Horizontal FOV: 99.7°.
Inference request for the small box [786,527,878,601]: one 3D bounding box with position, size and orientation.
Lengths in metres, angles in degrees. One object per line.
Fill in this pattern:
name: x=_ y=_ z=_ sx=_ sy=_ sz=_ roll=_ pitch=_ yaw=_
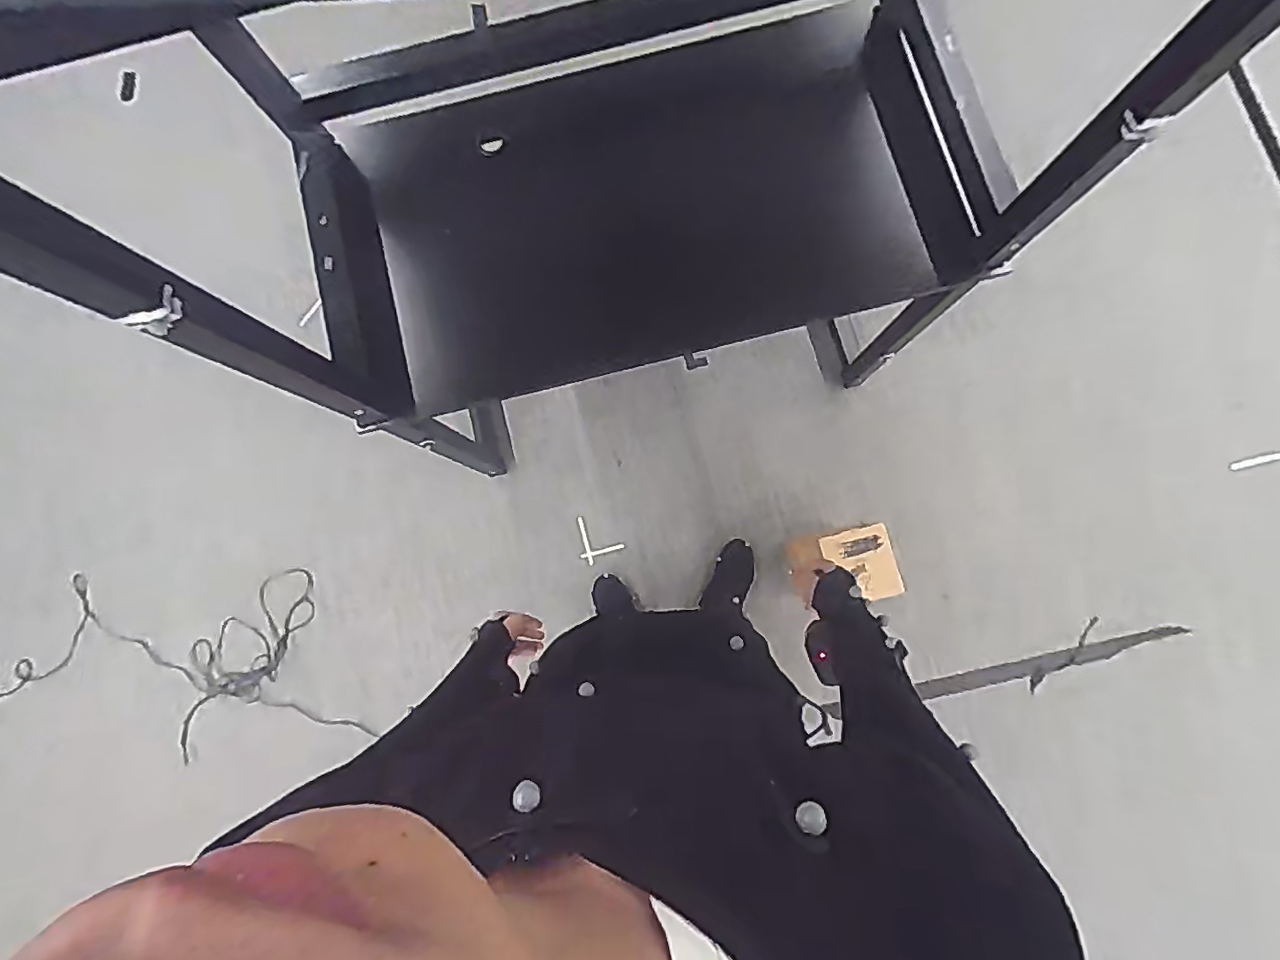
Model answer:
small box: x=0.534 y=0.233 z=1.527 sx=0.179 sy=0.176 sz=0.168 roll=-16 pitch=82 yaw=1
